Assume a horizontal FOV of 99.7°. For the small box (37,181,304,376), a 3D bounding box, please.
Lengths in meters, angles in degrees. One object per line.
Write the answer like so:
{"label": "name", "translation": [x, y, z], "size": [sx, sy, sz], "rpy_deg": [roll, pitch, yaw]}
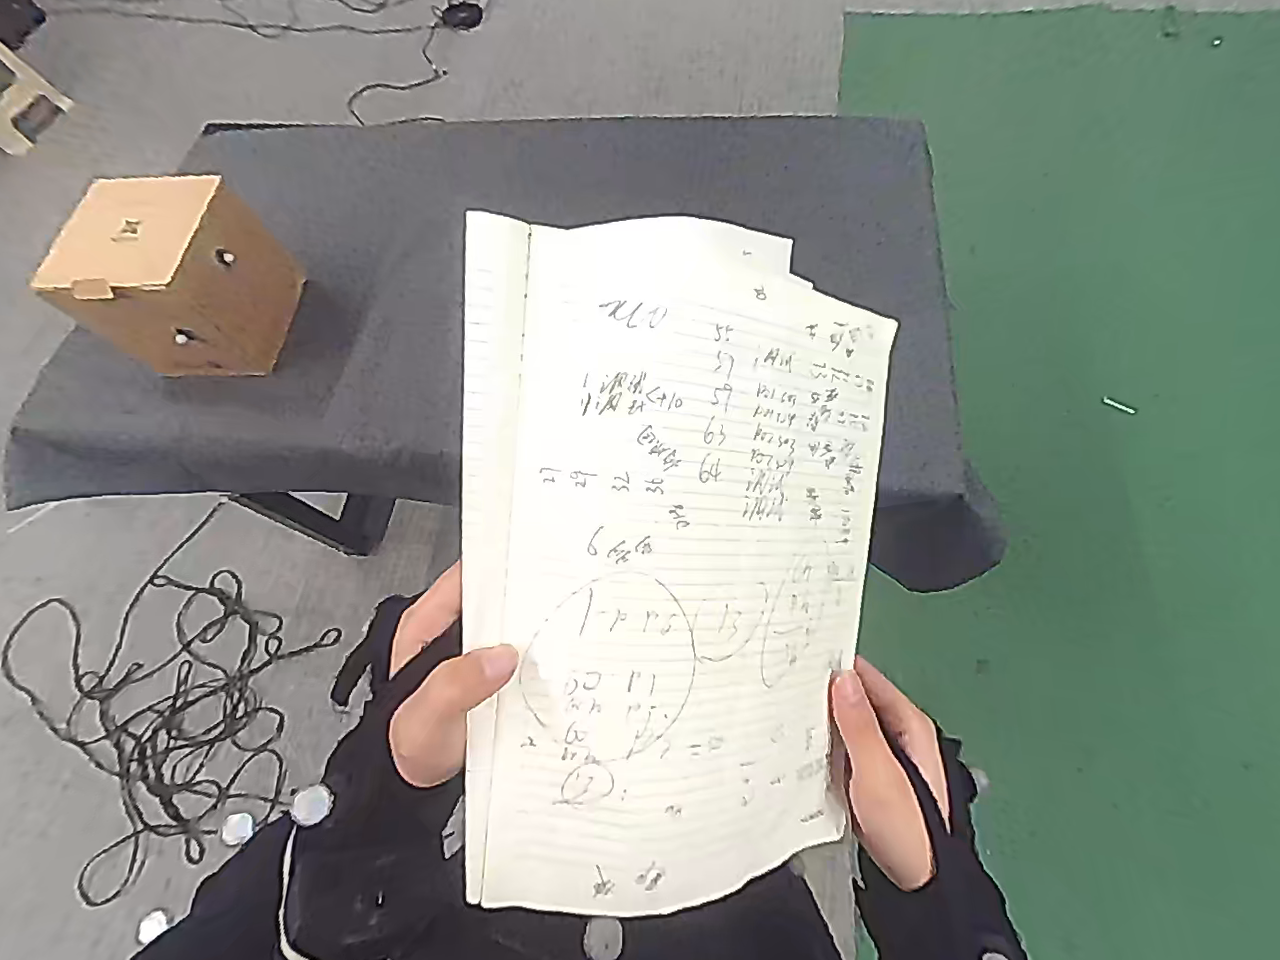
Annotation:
{"label": "small box", "translation": [-0.575, -0.248, 0.695], "size": [0.168, 0.176, 0.179], "rpy_deg": [1, 65, 4]}
